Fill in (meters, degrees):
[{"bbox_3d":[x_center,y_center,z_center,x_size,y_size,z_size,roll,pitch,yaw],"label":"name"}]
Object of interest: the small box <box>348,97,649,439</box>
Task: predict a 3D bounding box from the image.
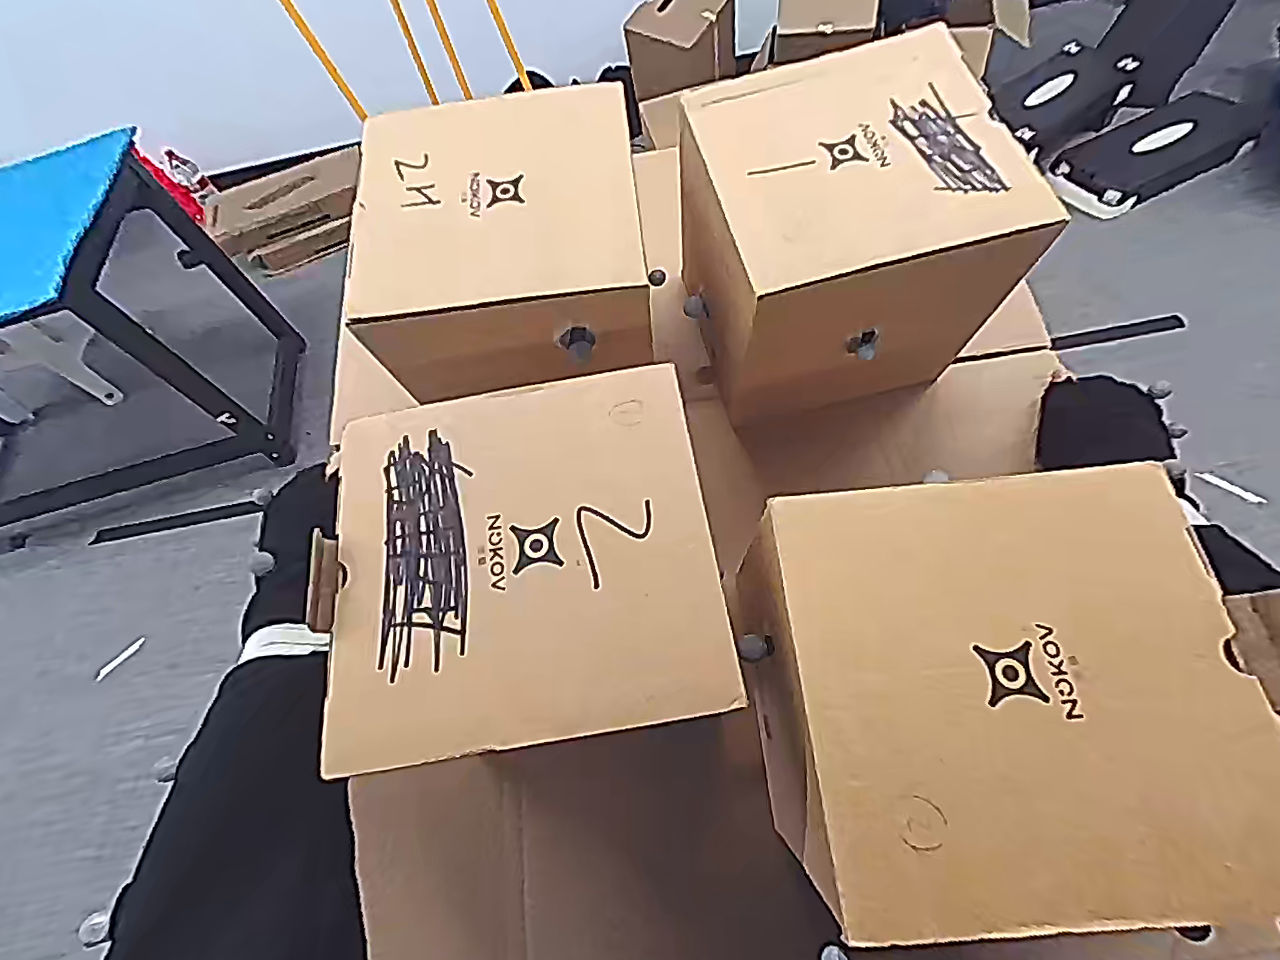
[{"bbox_3d":[-0.087,-0.145,0.416,0.179,0.176,0.168,-7,69,3],"label":"small box"}]
